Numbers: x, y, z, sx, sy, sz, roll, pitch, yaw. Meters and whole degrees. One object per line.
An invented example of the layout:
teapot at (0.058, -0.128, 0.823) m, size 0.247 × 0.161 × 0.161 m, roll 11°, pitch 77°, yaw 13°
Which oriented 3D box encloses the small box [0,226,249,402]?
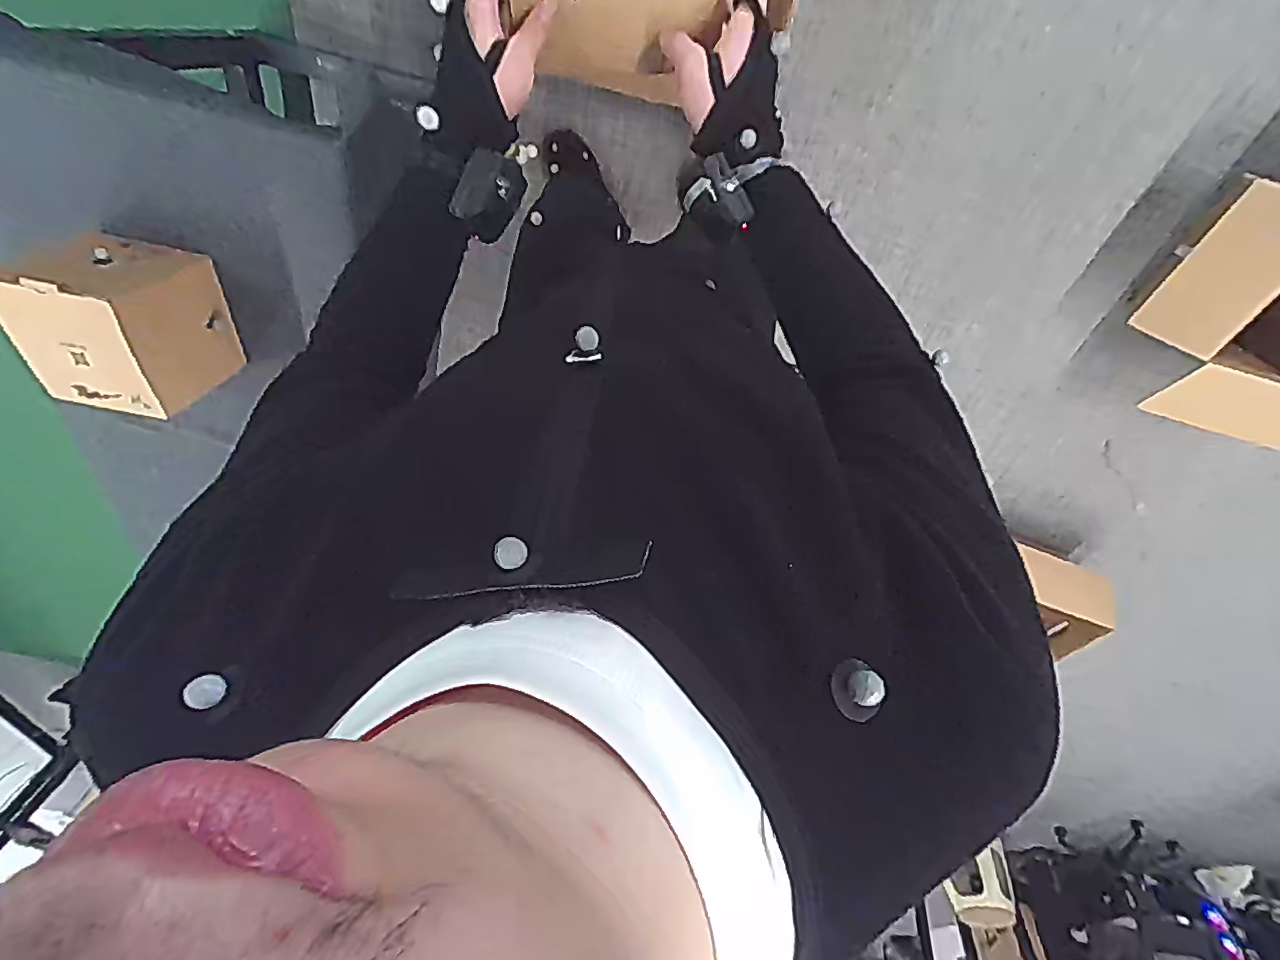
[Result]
small box at (-0.703, -0.237, 0.757) m, size 0.168 × 0.176 × 0.179 m, roll 9°, pitch 131°, yaw 0°

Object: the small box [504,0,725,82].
small box at (-0.018, -0.462, 0.435) m, size 0.179 × 0.176 × 0.168 m, roll 1°, pitch 151°, yaw -5°
